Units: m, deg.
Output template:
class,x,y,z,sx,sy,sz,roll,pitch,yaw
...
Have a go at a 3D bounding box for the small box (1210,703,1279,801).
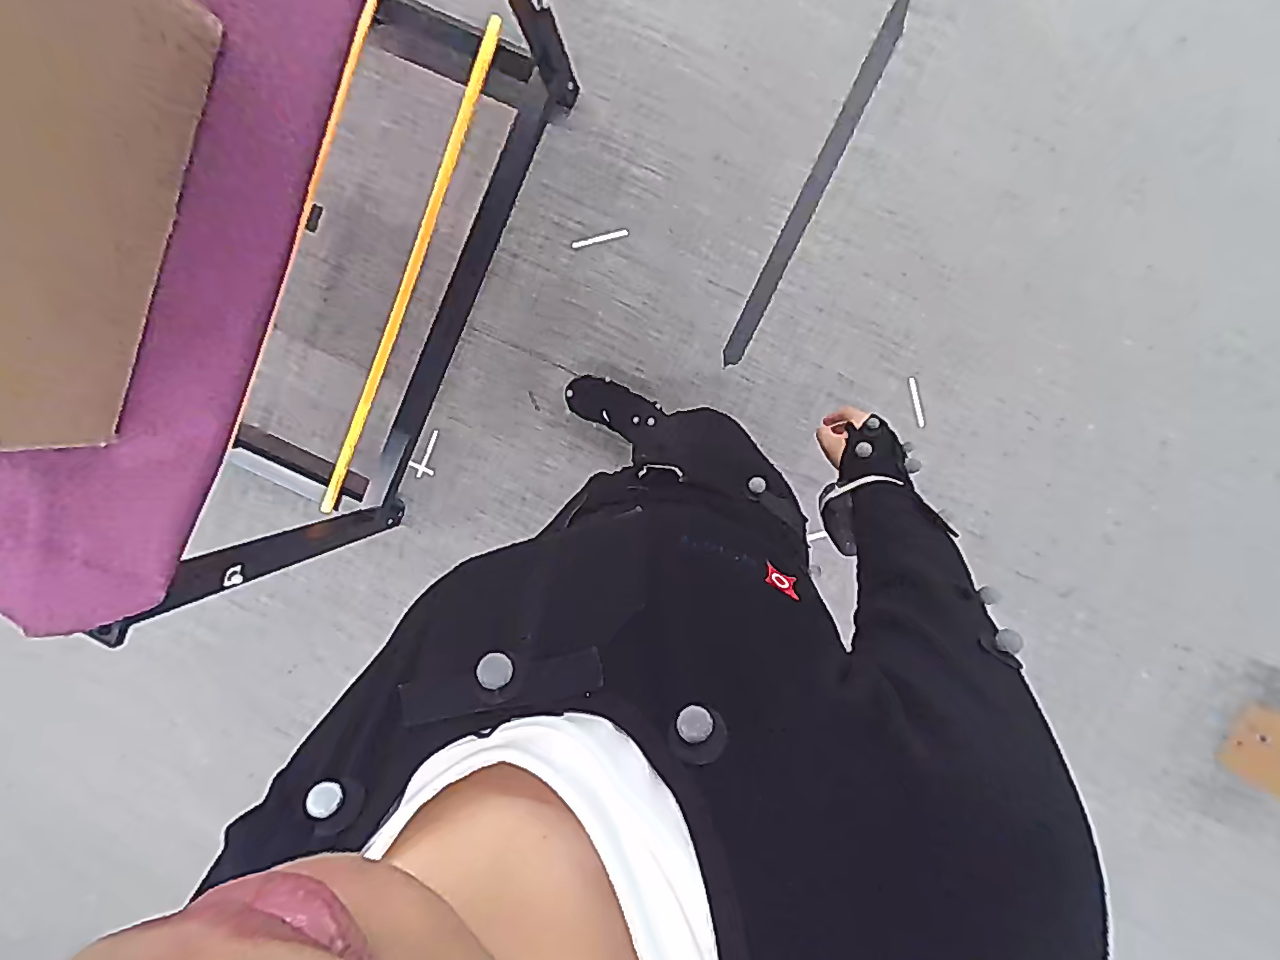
class,x,y,z,sx,sy,sz,roll,pitch,yaw
small box,1.505,0.647,1.242,0.179,0.176,0.168,22,98,3
